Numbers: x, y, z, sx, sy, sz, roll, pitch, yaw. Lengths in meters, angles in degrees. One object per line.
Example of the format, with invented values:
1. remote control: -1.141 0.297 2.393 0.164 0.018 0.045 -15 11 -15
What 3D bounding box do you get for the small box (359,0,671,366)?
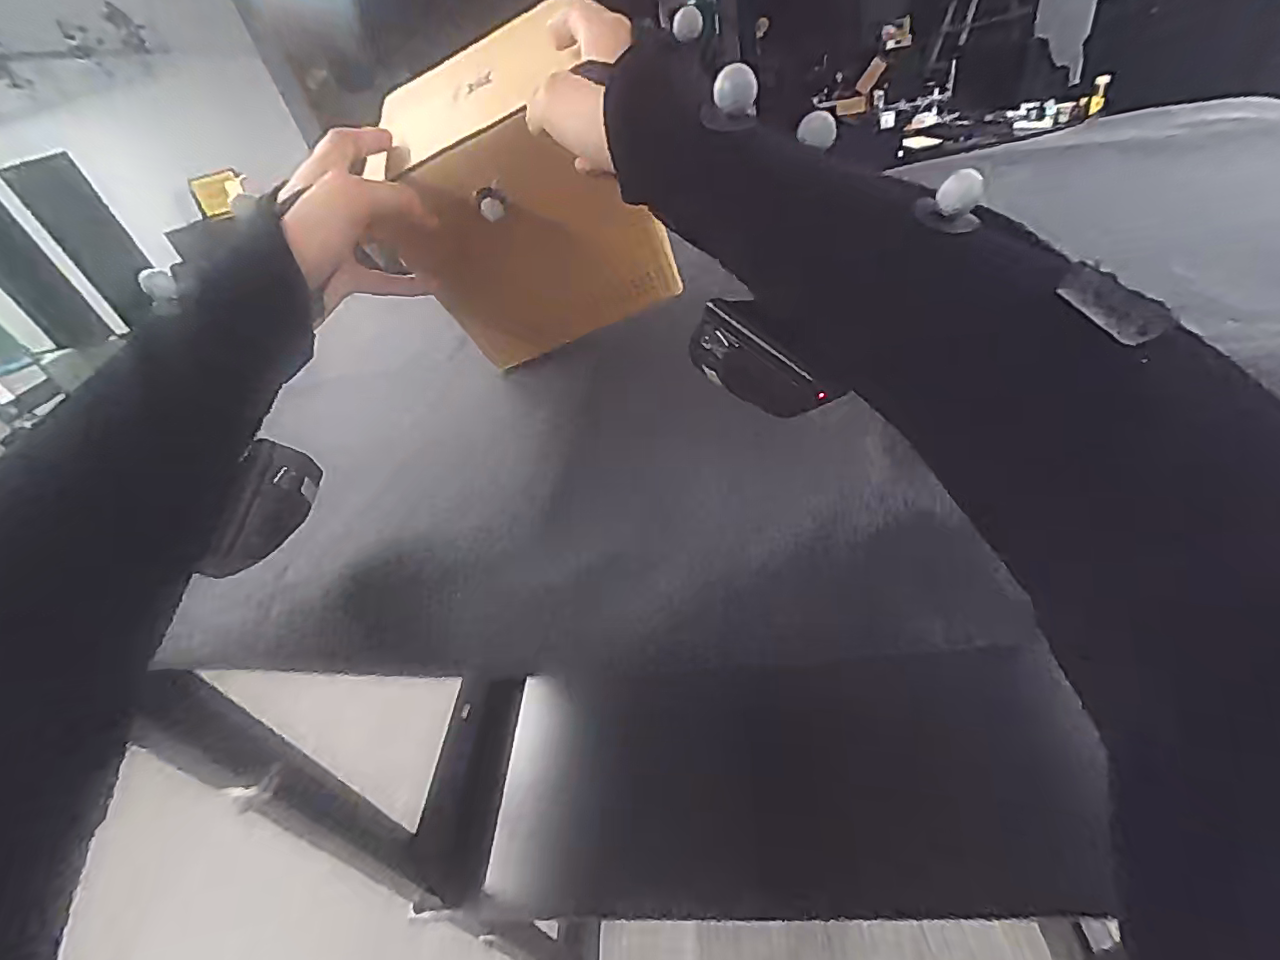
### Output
1. small box: -0.083 -0.226 0.437 0.179 0.176 0.168 -19 54 14
